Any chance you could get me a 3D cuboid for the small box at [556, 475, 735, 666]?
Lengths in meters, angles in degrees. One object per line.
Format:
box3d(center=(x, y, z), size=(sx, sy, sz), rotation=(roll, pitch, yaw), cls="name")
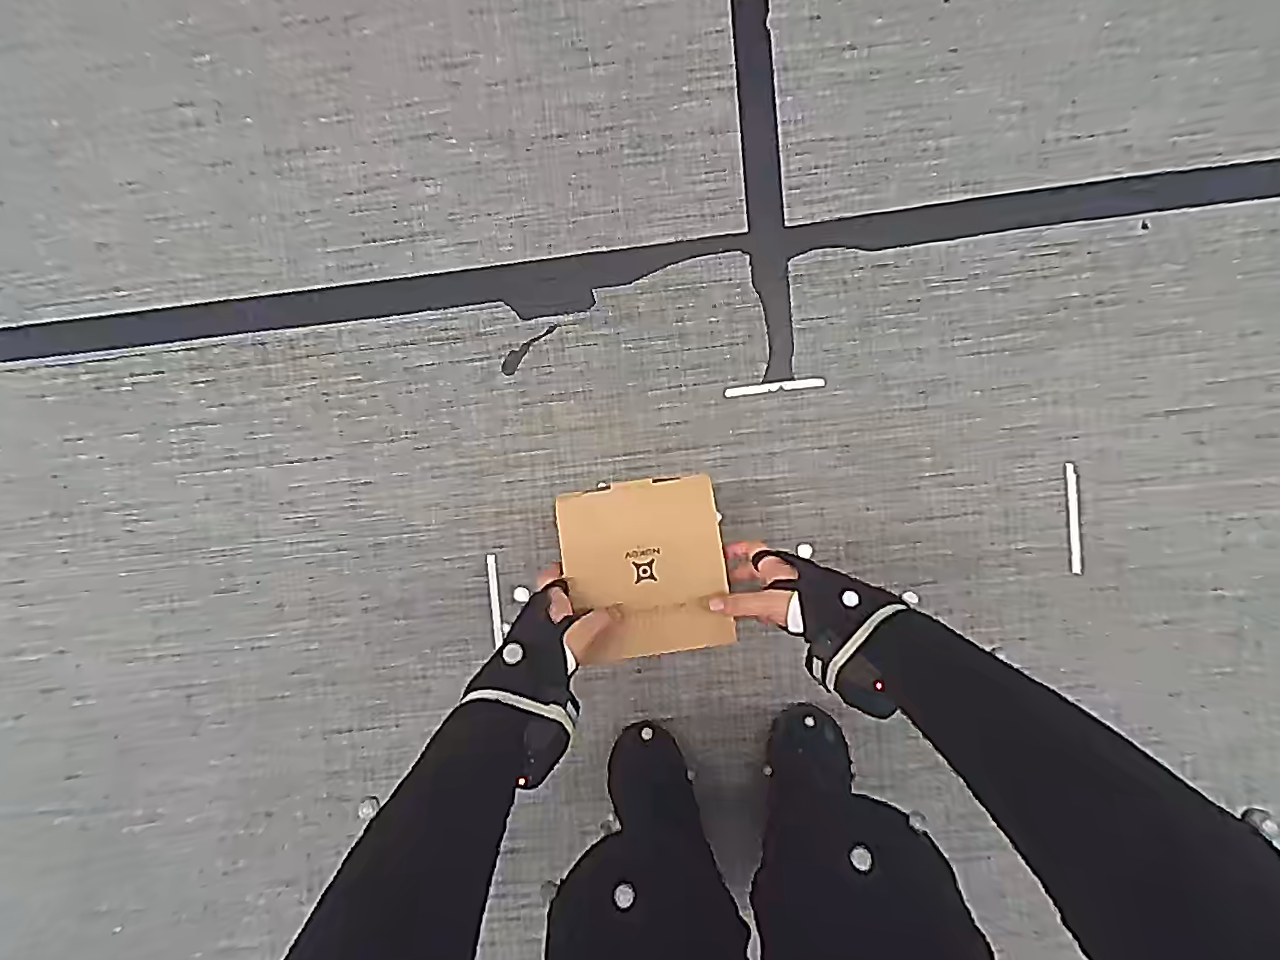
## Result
box3d(center=(0.005, 0.101, 0.629), size=(0.168, 0.176, 0.179), rotation=(-9, 83, 1), cls="small box")
